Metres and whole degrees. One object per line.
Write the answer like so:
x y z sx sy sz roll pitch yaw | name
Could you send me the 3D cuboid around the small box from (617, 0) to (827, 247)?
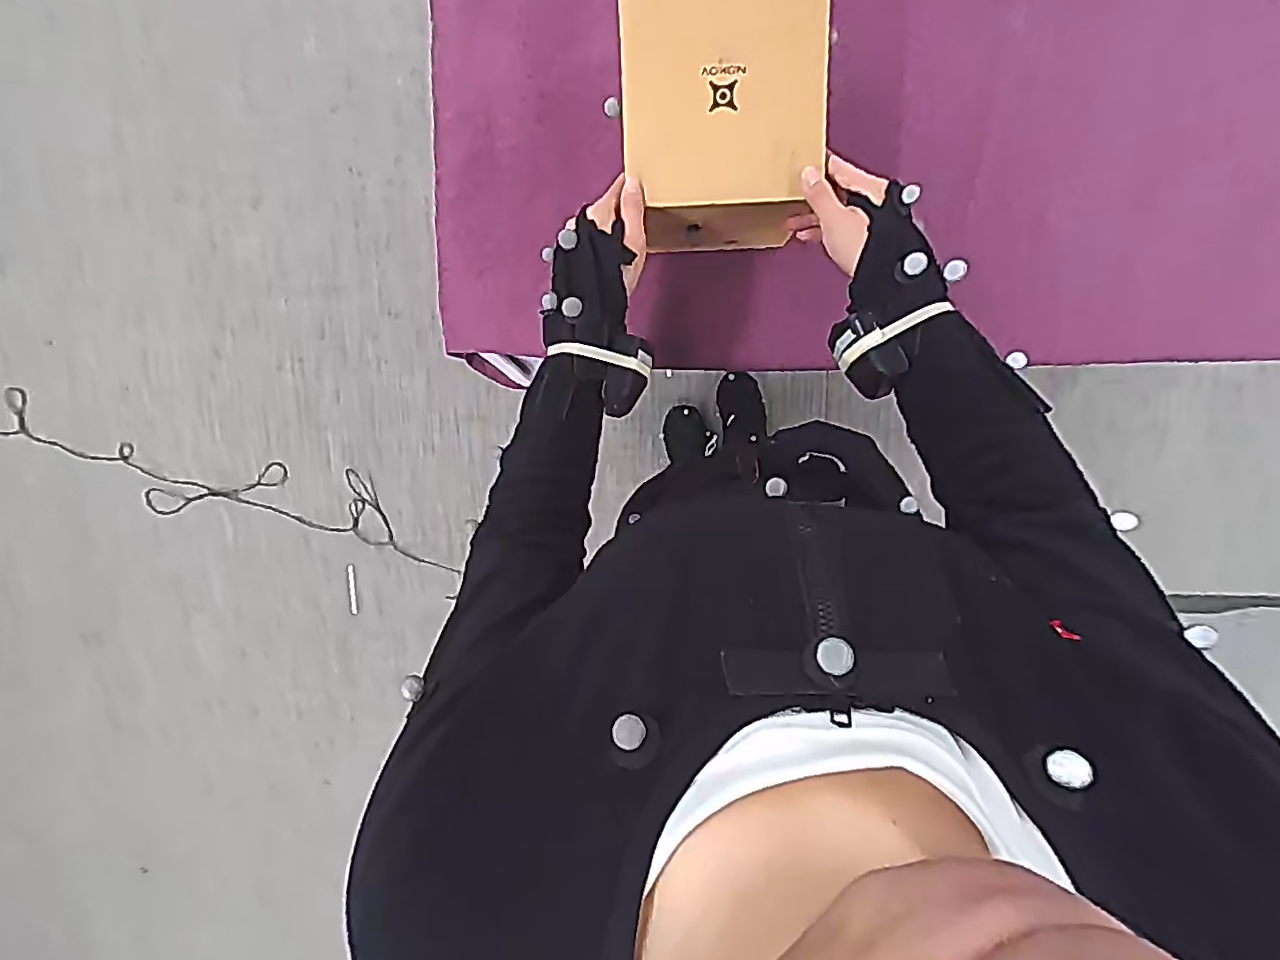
0.070 -0.329 0.511 0.168 0.176 0.179 -1 99 4 | small box
